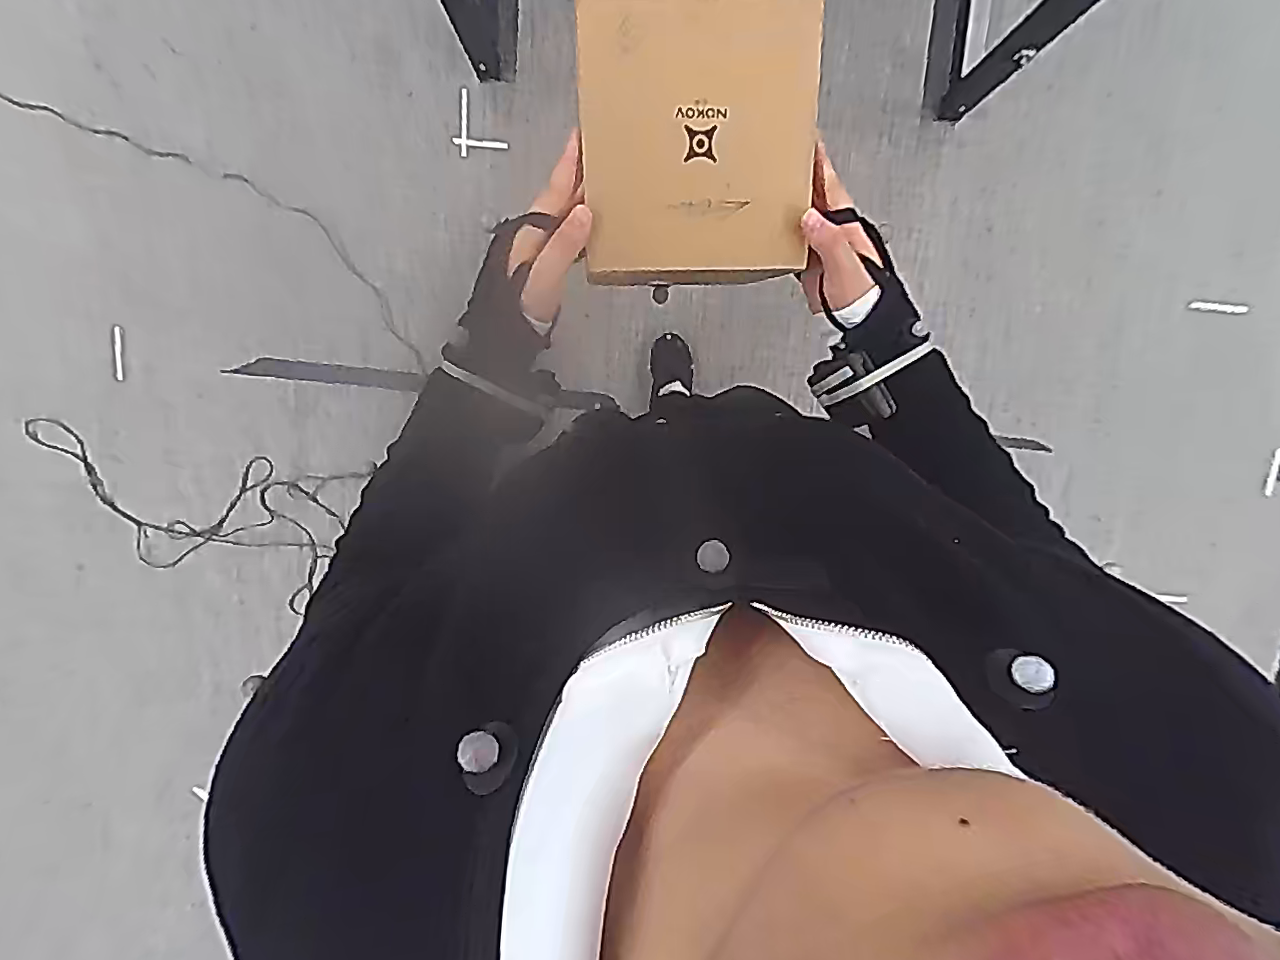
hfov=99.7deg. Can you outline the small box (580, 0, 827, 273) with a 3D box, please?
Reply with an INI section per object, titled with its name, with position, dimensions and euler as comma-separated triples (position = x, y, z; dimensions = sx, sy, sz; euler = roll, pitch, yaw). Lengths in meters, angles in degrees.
[small box]
position = 0.036, -0.271, 0.446
dimensions = 0.168, 0.176, 0.179
euler = -2, 107, -4
